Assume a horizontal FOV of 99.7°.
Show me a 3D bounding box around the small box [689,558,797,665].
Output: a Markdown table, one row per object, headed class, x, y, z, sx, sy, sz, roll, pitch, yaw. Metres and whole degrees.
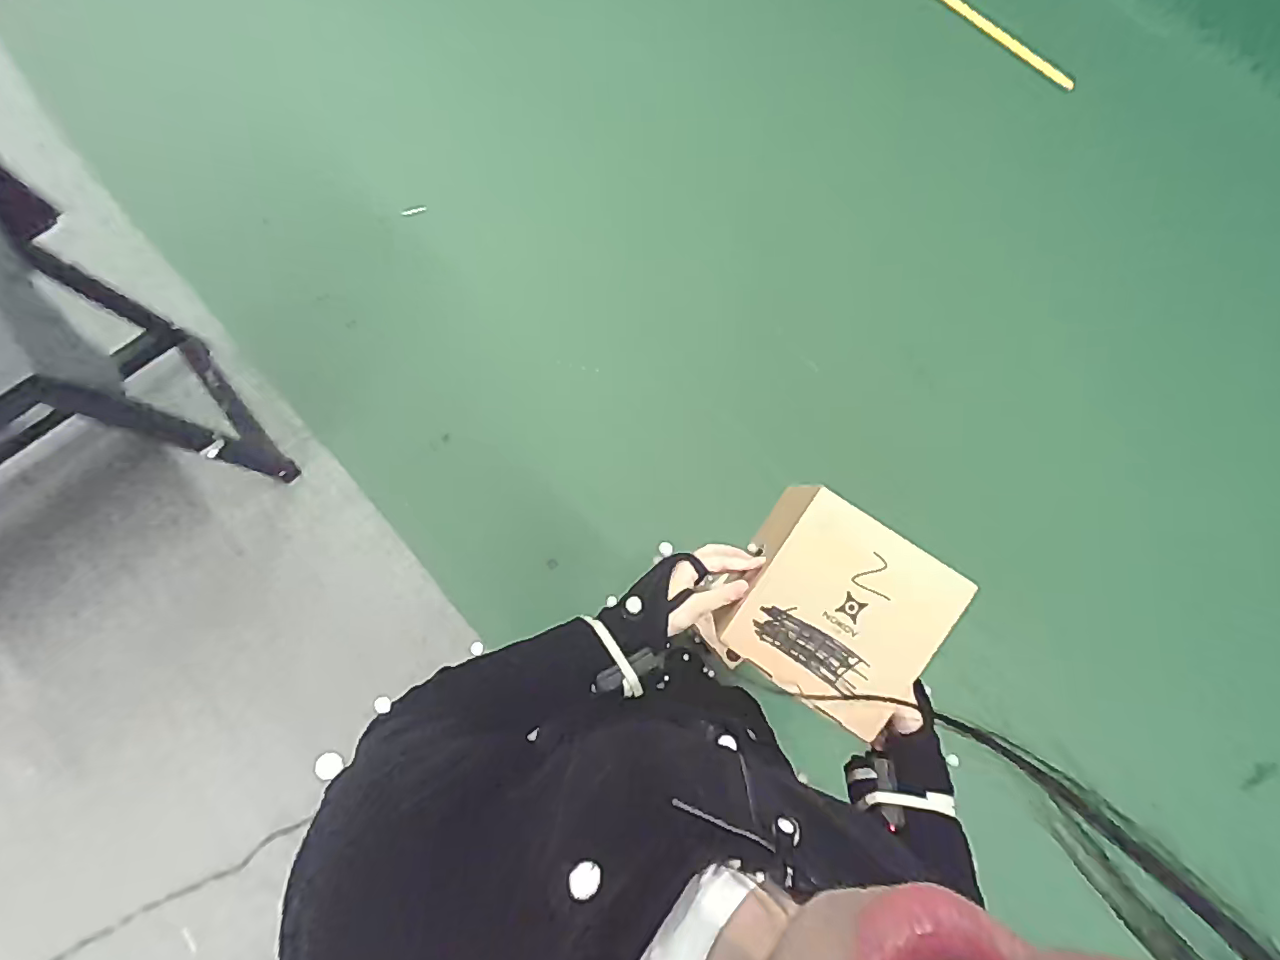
| class | x | y | z | sx | sy | sz | roll | pitch | yaw |
| --- | --- | --- | --- | --- | --- | --- | --- | --- | --- |
| small box | 0.228 | 0.302 | 1.259 | 0.179 | 0.176 | 0.168 | -38 | 79 | -7 |
